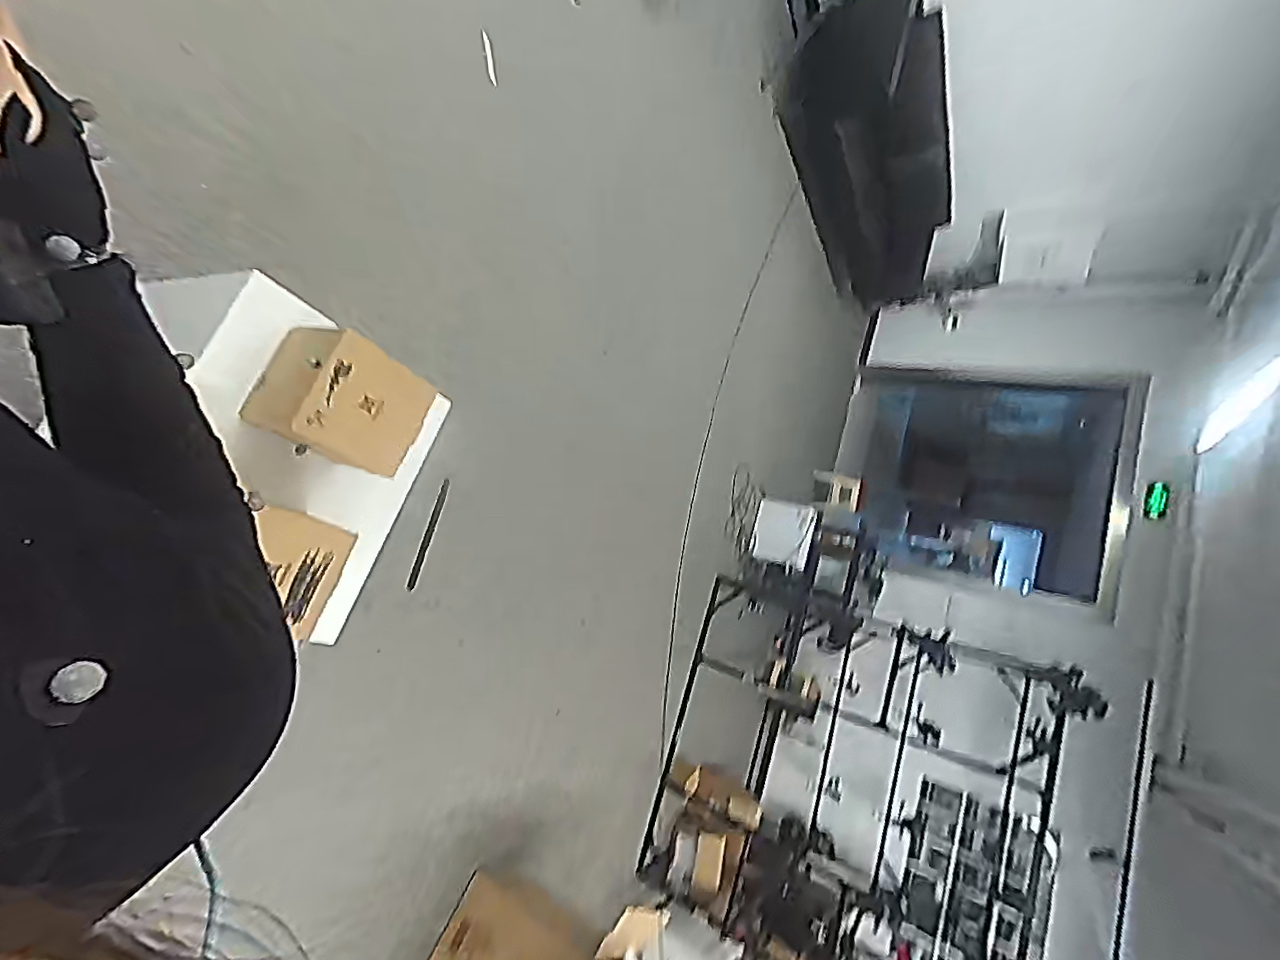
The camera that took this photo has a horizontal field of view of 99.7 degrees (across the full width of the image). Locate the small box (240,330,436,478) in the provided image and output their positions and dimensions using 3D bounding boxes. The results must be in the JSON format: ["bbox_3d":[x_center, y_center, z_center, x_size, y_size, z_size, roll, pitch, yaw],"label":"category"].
[{"bbox_3d":[-0.470,-0.124,0.852,0.179,0.176,0.168,43,63,-54],"label":"small box"}]
